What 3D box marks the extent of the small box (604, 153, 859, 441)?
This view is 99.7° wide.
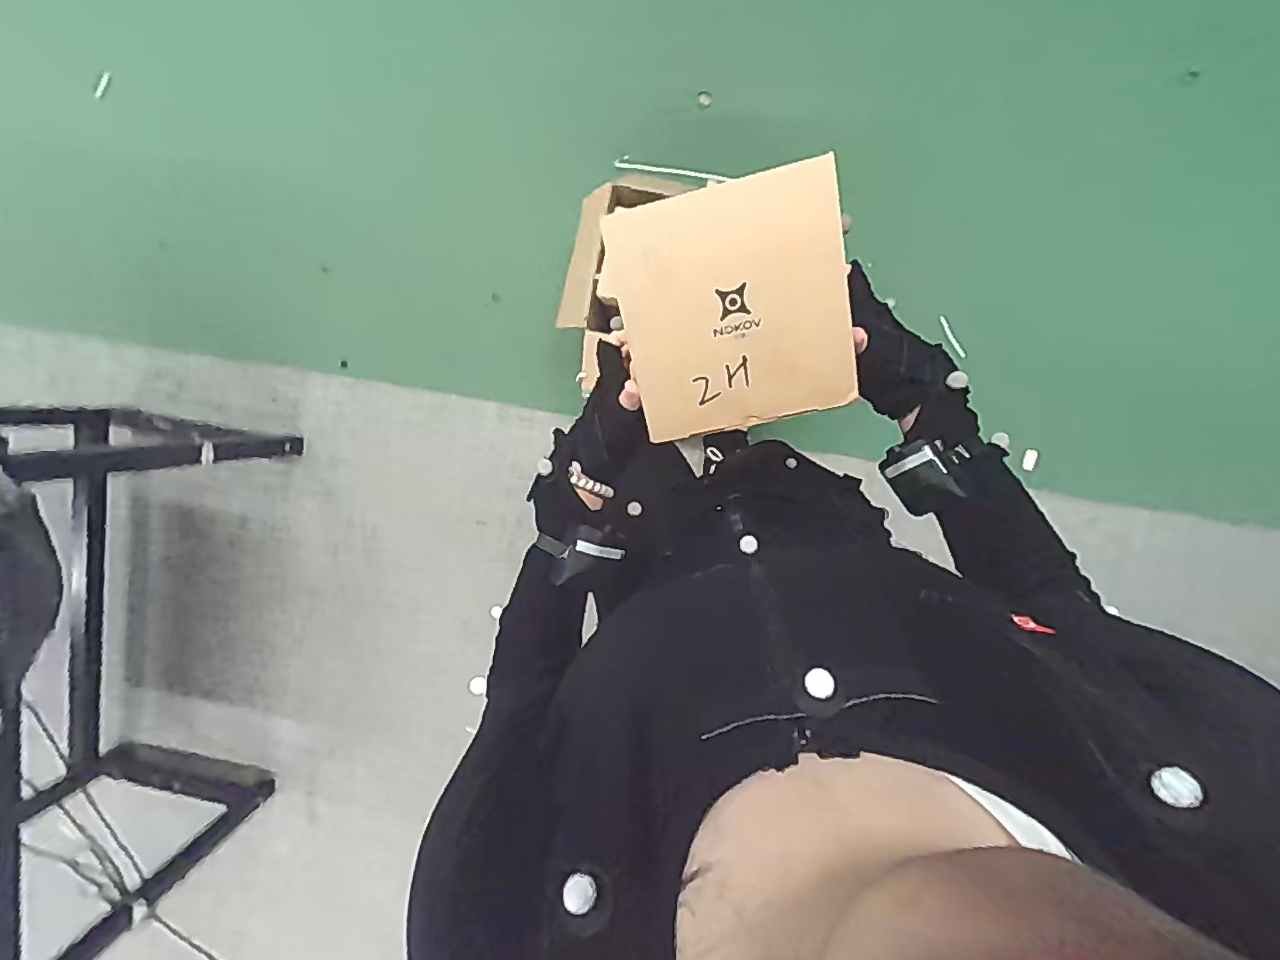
[{"bbox_3d":[0.076,-0.152,0.473,0.168,0.176,0.179,-11,110,9],"label":"small box"}]
